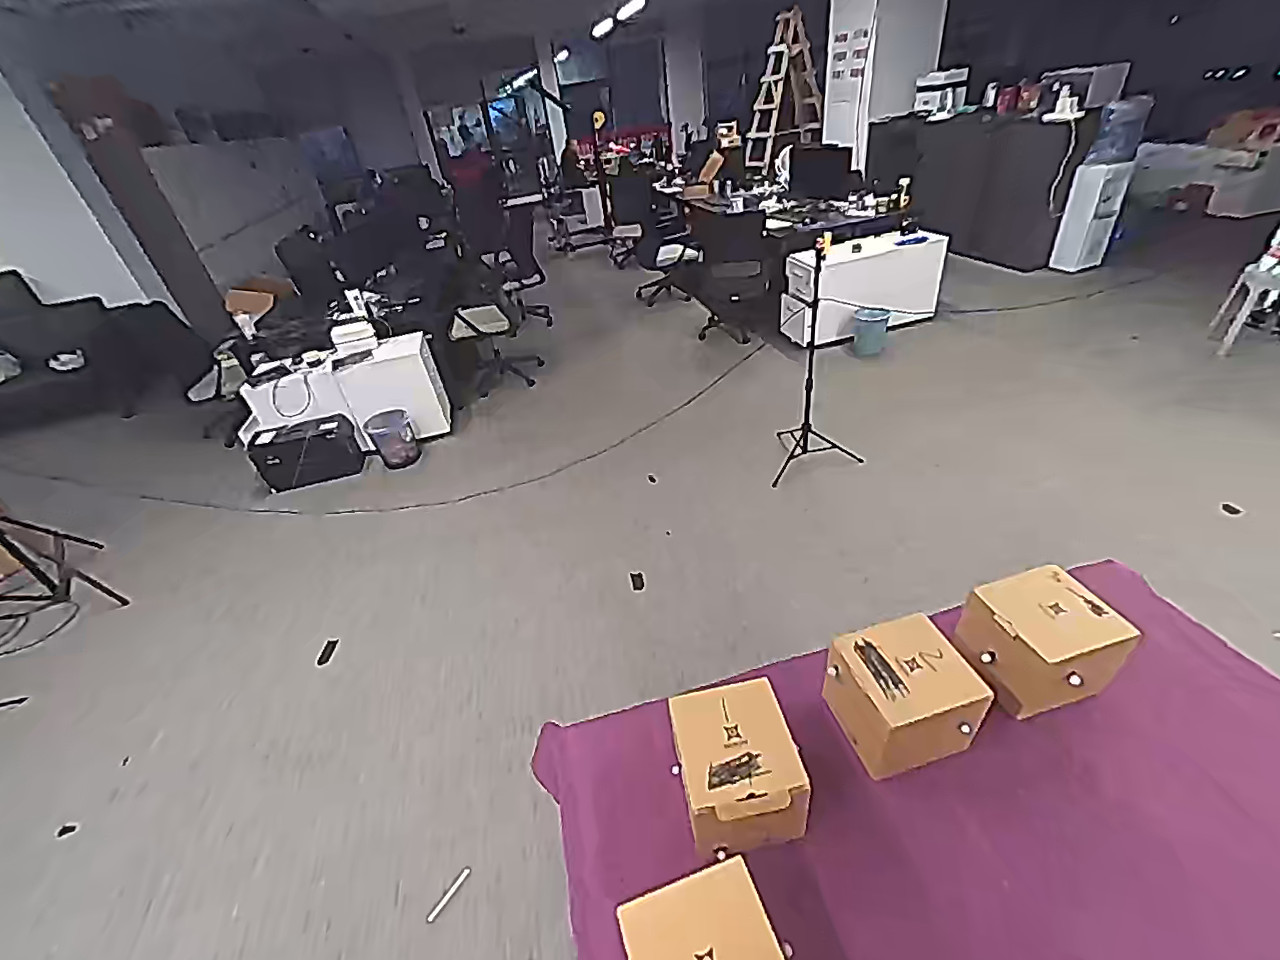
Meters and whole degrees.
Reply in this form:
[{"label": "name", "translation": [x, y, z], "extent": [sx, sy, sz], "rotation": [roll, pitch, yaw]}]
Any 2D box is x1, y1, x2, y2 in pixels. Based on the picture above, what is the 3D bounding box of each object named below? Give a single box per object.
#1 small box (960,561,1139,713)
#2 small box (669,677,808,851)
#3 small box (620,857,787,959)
[{"label": "small box", "translation": [0.692, 0.275, 0.943], "extent": [0.179, 0.176, 0.168], "rotation": [-15, 38, -7]}, {"label": "small box", "translation": [0.147, 0.442, 0.836], "extent": [0.168, 0.176, 0.179], "rotation": [-11, 35, -3]}, {"label": "small box", "translation": [0.084, 0.596, 0.632], "extent": [0.168, 0.176, 0.179], "rotation": [-16, 37, -12]}]
